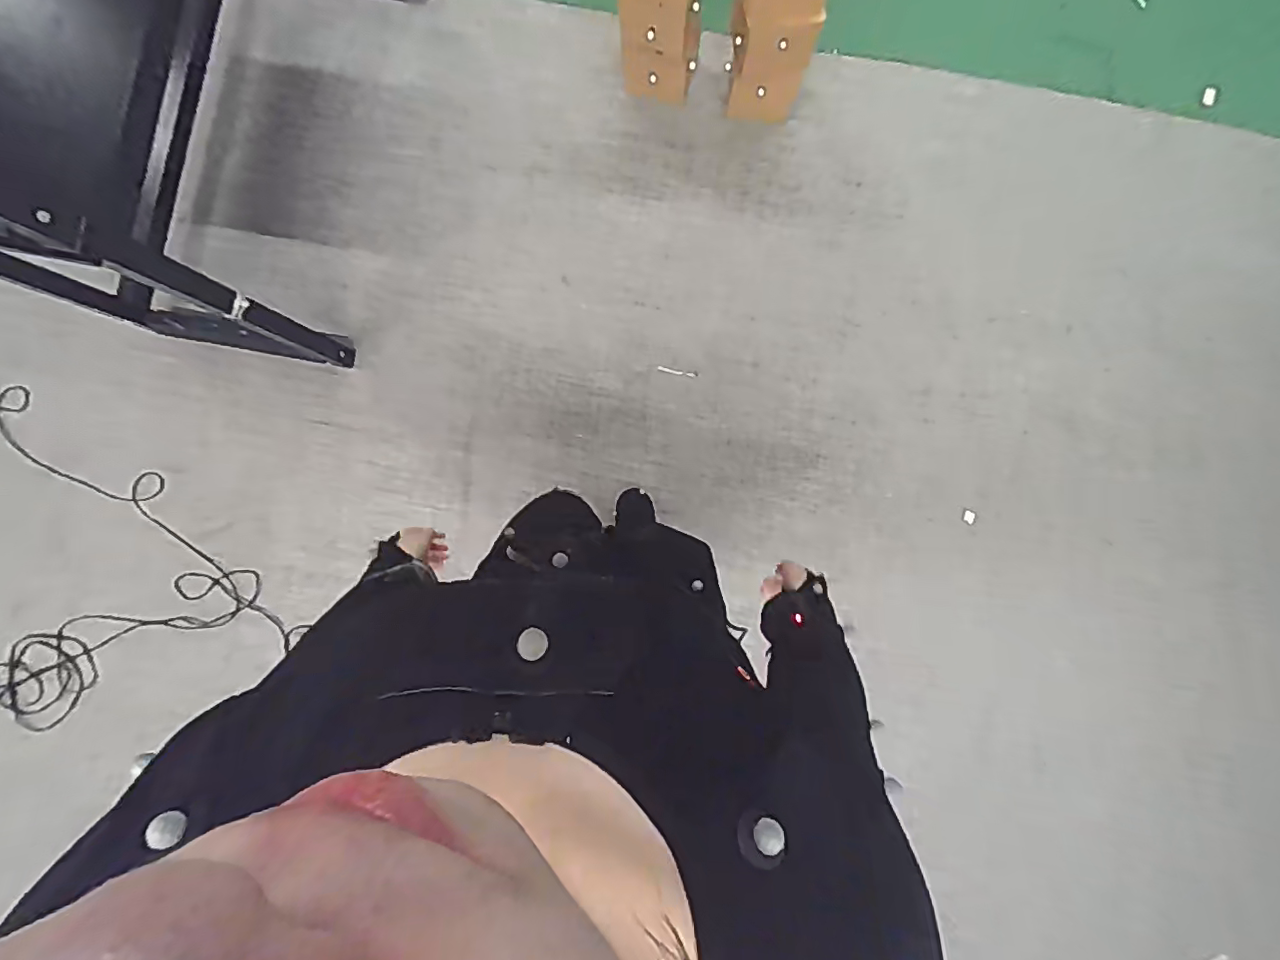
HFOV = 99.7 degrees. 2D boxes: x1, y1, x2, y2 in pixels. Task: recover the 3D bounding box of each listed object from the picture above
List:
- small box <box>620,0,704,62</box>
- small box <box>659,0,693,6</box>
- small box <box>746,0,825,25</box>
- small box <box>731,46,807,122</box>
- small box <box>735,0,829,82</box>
[{"bbox_3d":[0.060,-1.163,1.301,0.168,0.176,0.179,18,89,2],"label":"small box"},{"bbox_3d":[0.054,-1.158,1.135,0.179,0.176,0.168,20,89,2],"label":"small box"},{"bbox_3d":[0.313,-1.109,1.133,0.179,0.176,0.168,-13,89,0],"label":"small box"},{"bbox_3d":[0.344,-1.101,1.457,0.179,0.176,0.168,4,89,1],"label":"small box"},{"bbox_3d":[0.331,-1.098,1.295,0.179,0.176,0.168,-9,90,0],"label":"small box"}]
